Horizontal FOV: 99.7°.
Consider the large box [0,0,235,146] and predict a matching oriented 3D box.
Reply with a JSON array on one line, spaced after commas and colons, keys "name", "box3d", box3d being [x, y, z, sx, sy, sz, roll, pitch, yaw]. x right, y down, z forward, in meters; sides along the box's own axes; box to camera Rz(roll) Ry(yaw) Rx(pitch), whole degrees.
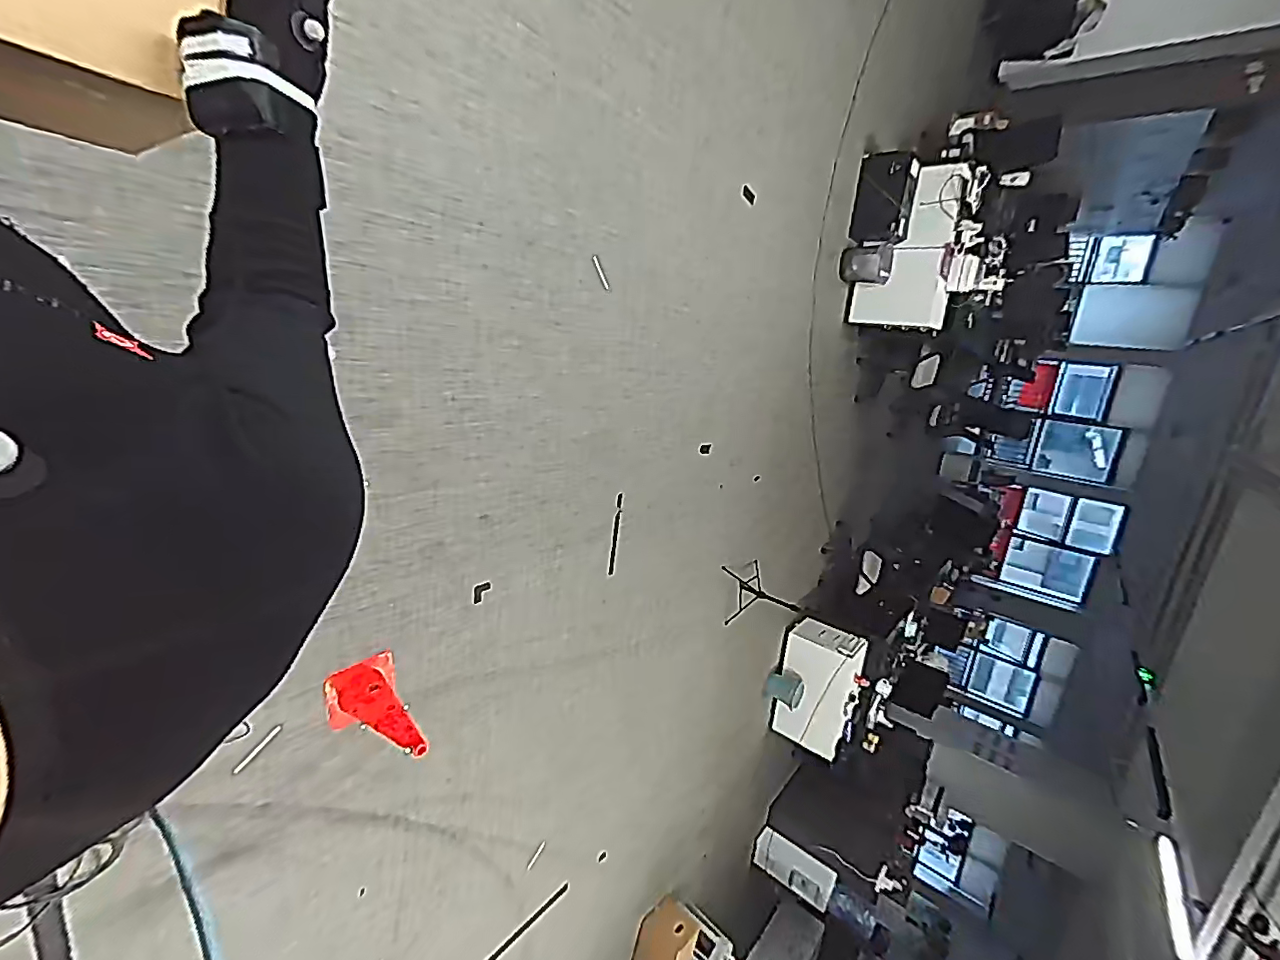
[{"name": "large box", "box3d": [-0.526, -0.438, 0.302, 0.408, 0.320, 0.320, -10, 113, -52]}]

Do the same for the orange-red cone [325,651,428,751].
[{"name": "orange-red cone", "box3d": [-0.733, 0.683, 1.575, 0.198, 0.360, 0.199, -16, 115, -50]}]
